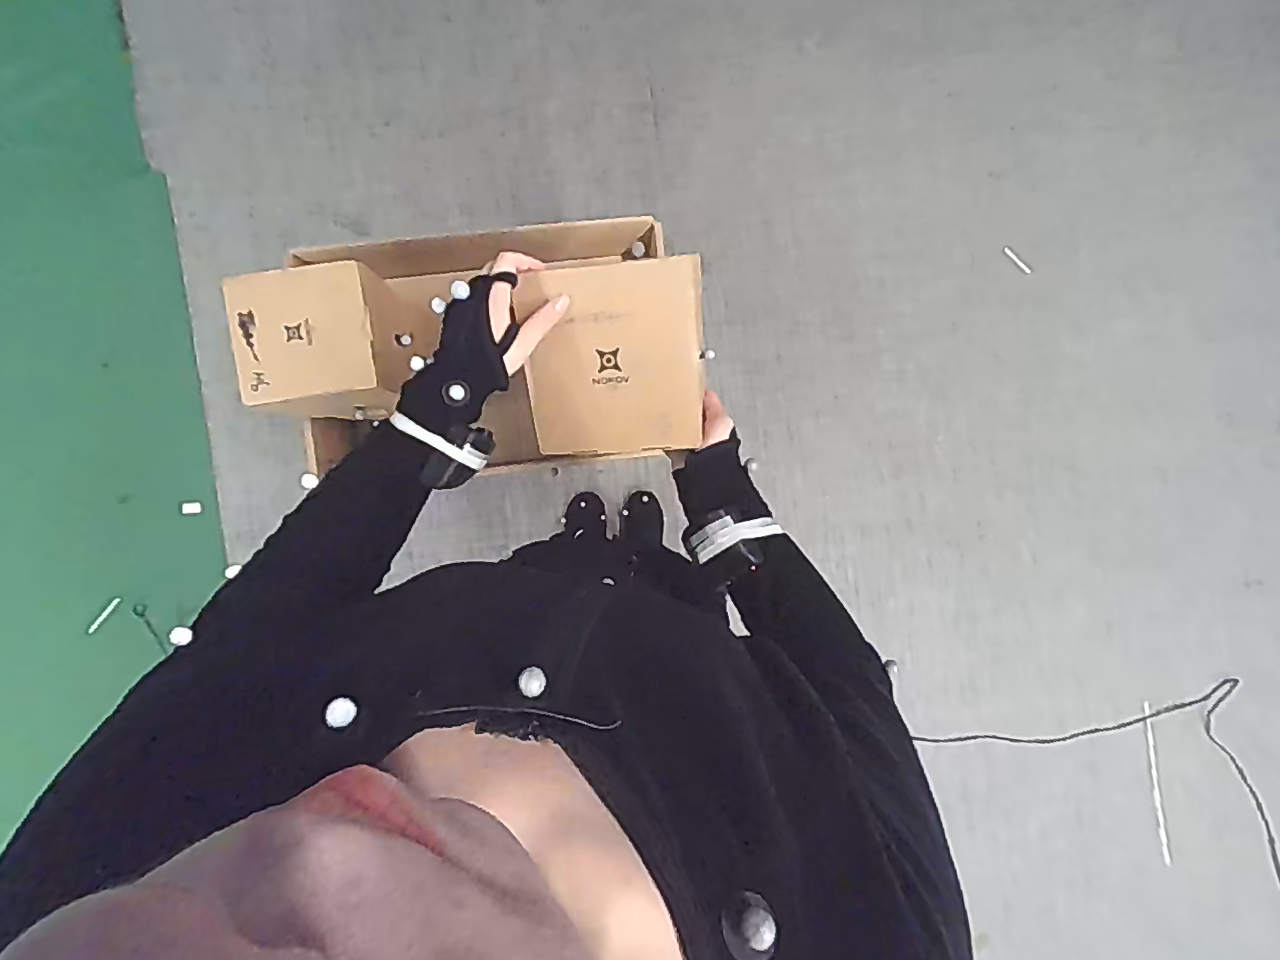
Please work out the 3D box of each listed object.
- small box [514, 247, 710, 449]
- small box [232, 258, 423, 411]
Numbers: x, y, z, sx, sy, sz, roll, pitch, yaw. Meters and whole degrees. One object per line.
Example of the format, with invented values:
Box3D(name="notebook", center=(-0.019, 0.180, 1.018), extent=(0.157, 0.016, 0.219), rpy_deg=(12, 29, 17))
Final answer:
Box3D(name="small box", center=(-0.013, -0.143, 0.569), extent=(0.168, 0.176, 0.179), rpy_deg=(-1, 113, 10))
Box3D(name="small box", center=(-0.425, -0.195, 0.770), extent=(0.179, 0.176, 0.168), rpy_deg=(-8, 91, -1))
